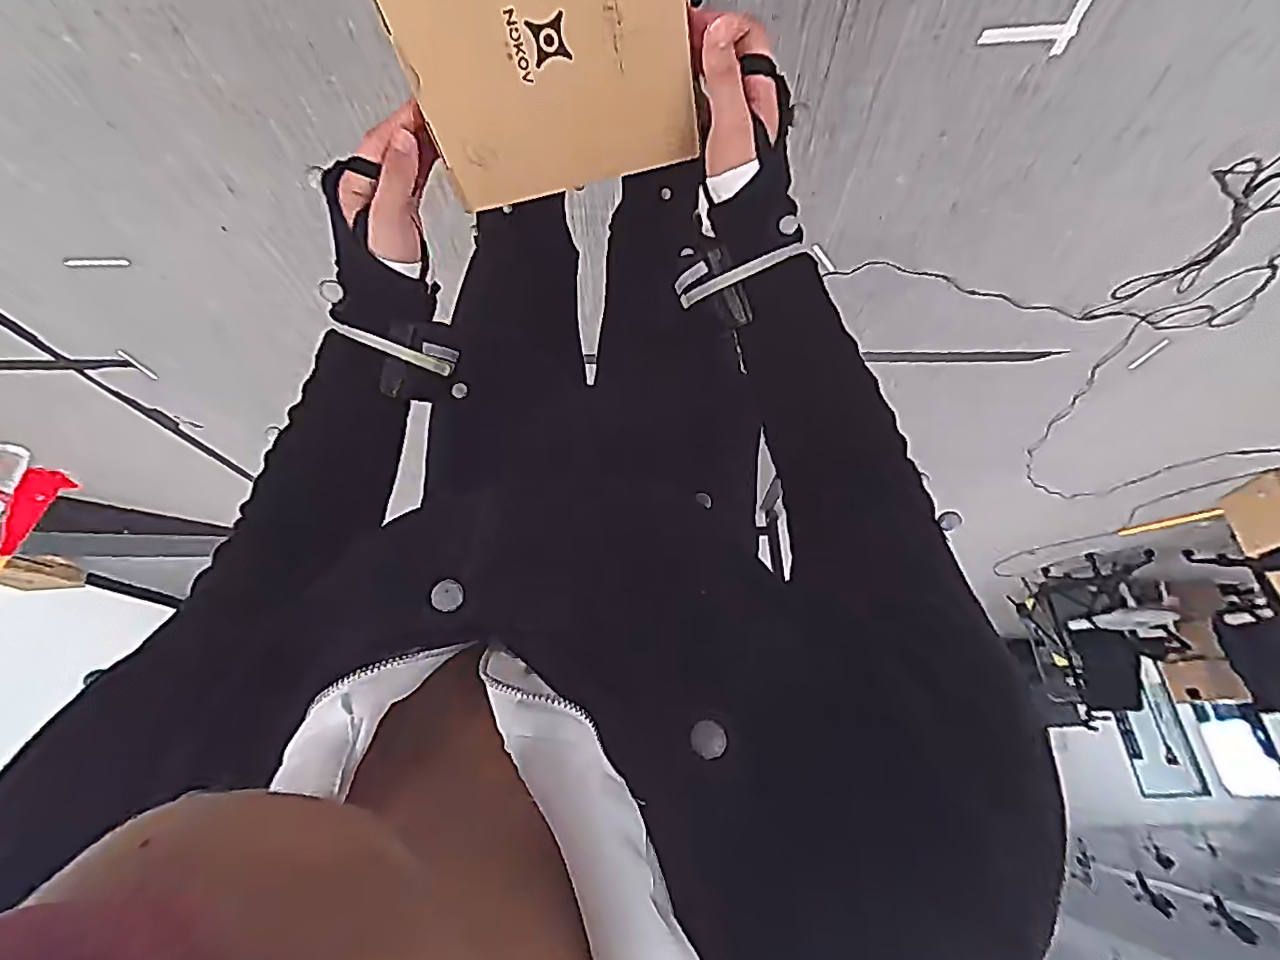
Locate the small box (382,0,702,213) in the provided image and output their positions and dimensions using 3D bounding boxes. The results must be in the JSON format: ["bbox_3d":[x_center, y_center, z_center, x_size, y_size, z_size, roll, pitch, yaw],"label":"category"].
[{"bbox_3d":[-0.061,-0.323,0.383,0.179,0.176,0.168,-12,139,5],"label":"small box"}]
